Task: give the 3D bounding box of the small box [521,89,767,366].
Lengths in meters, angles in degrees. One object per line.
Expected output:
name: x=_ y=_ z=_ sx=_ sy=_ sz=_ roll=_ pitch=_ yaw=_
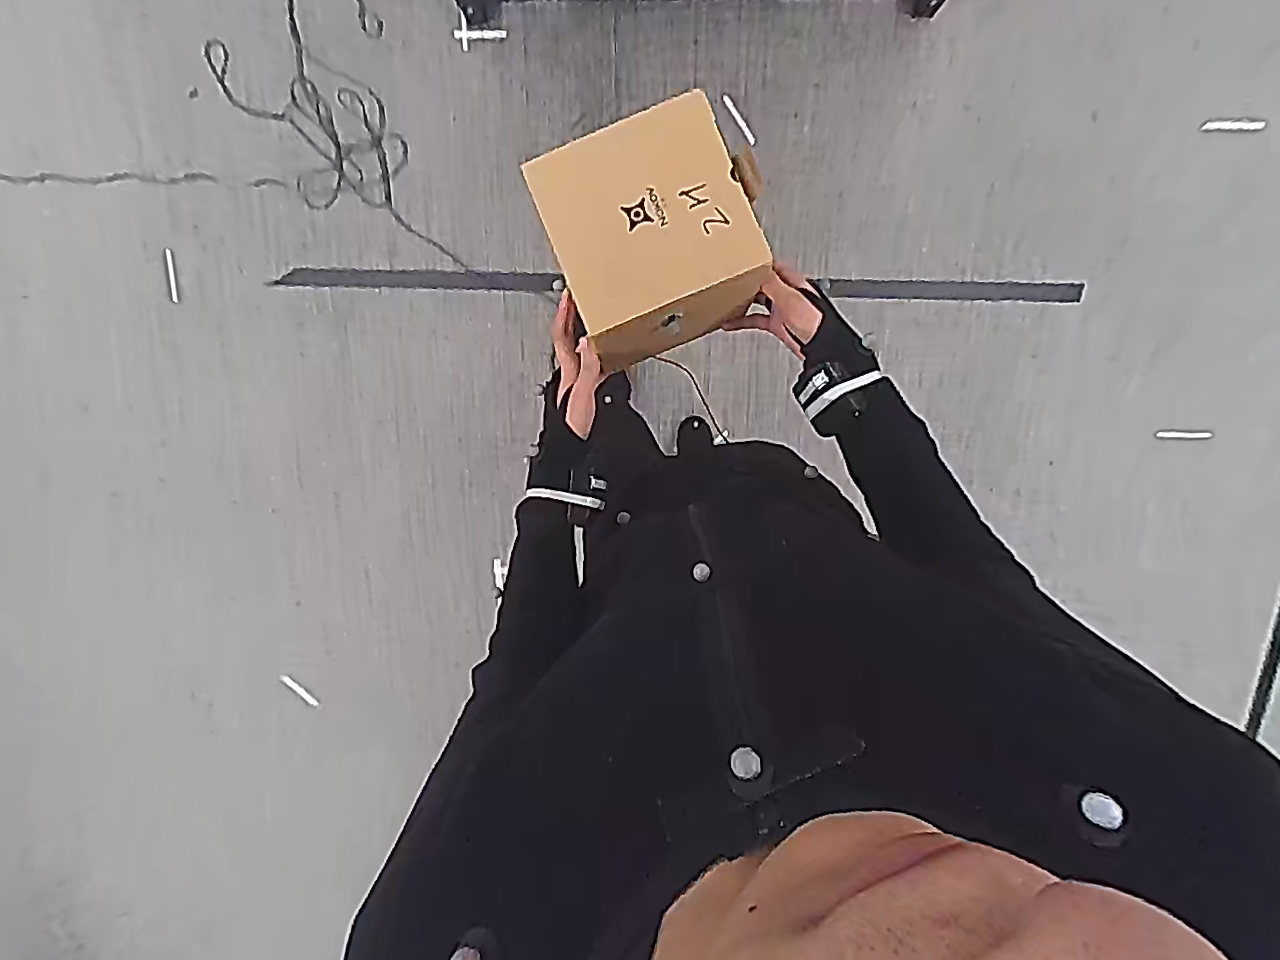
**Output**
small box: x=0.005 y=-0.235 z=0.552 sx=0.179 sy=0.176 sz=0.168 roll=-22 pitch=89 yaw=1
